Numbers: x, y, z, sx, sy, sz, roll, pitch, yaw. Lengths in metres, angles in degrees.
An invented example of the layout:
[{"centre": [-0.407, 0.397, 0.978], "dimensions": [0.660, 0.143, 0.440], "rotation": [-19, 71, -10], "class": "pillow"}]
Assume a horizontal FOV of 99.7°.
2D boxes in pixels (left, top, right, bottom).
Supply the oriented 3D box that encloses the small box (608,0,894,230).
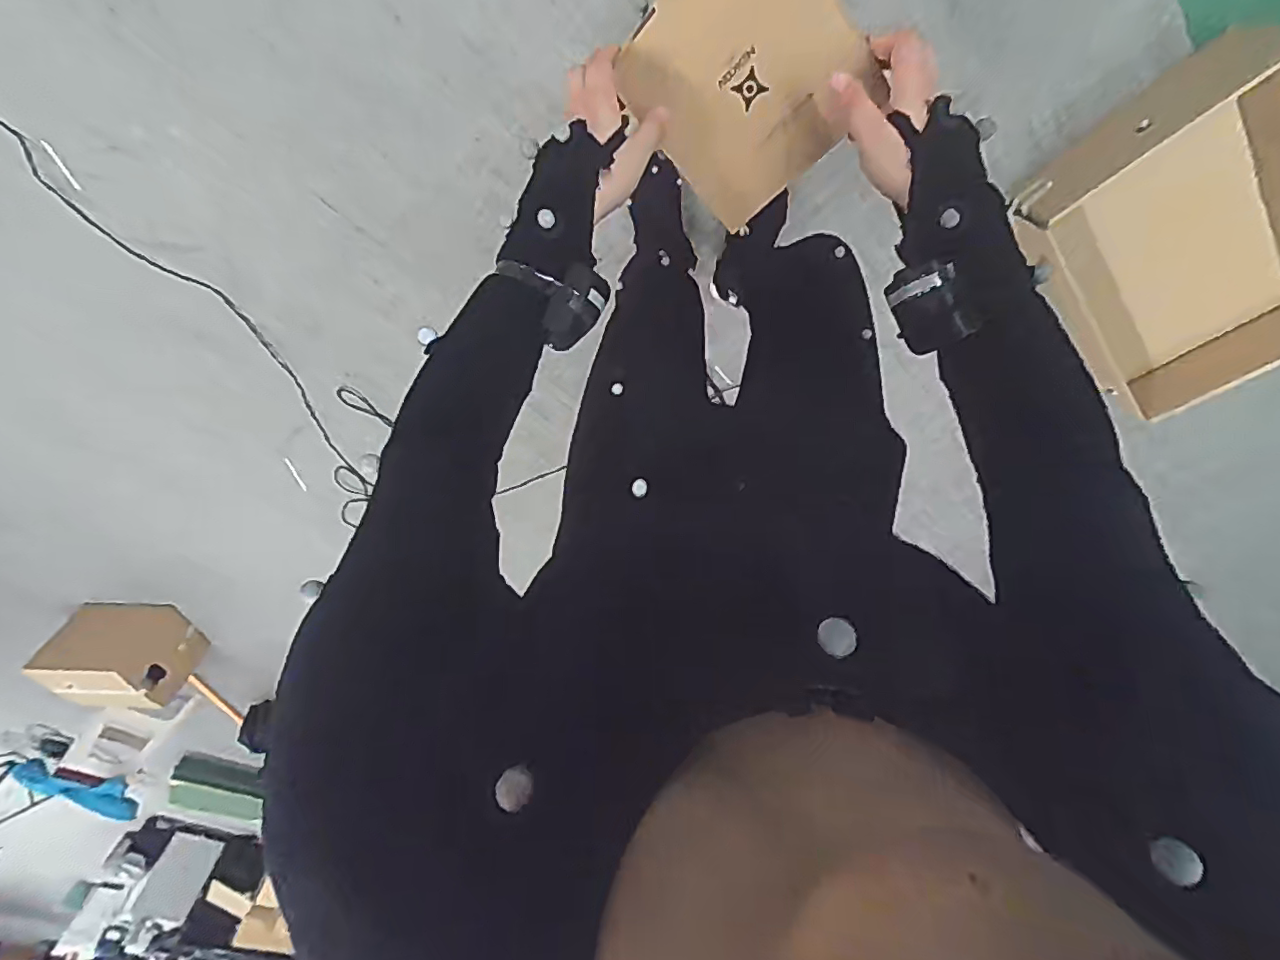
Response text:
[{"centre": [0.095, -0.378, 0.492], "dimensions": [0.179, 0.176, 0.168], "rotation": [36, 131, -28], "class": "small box"}]
